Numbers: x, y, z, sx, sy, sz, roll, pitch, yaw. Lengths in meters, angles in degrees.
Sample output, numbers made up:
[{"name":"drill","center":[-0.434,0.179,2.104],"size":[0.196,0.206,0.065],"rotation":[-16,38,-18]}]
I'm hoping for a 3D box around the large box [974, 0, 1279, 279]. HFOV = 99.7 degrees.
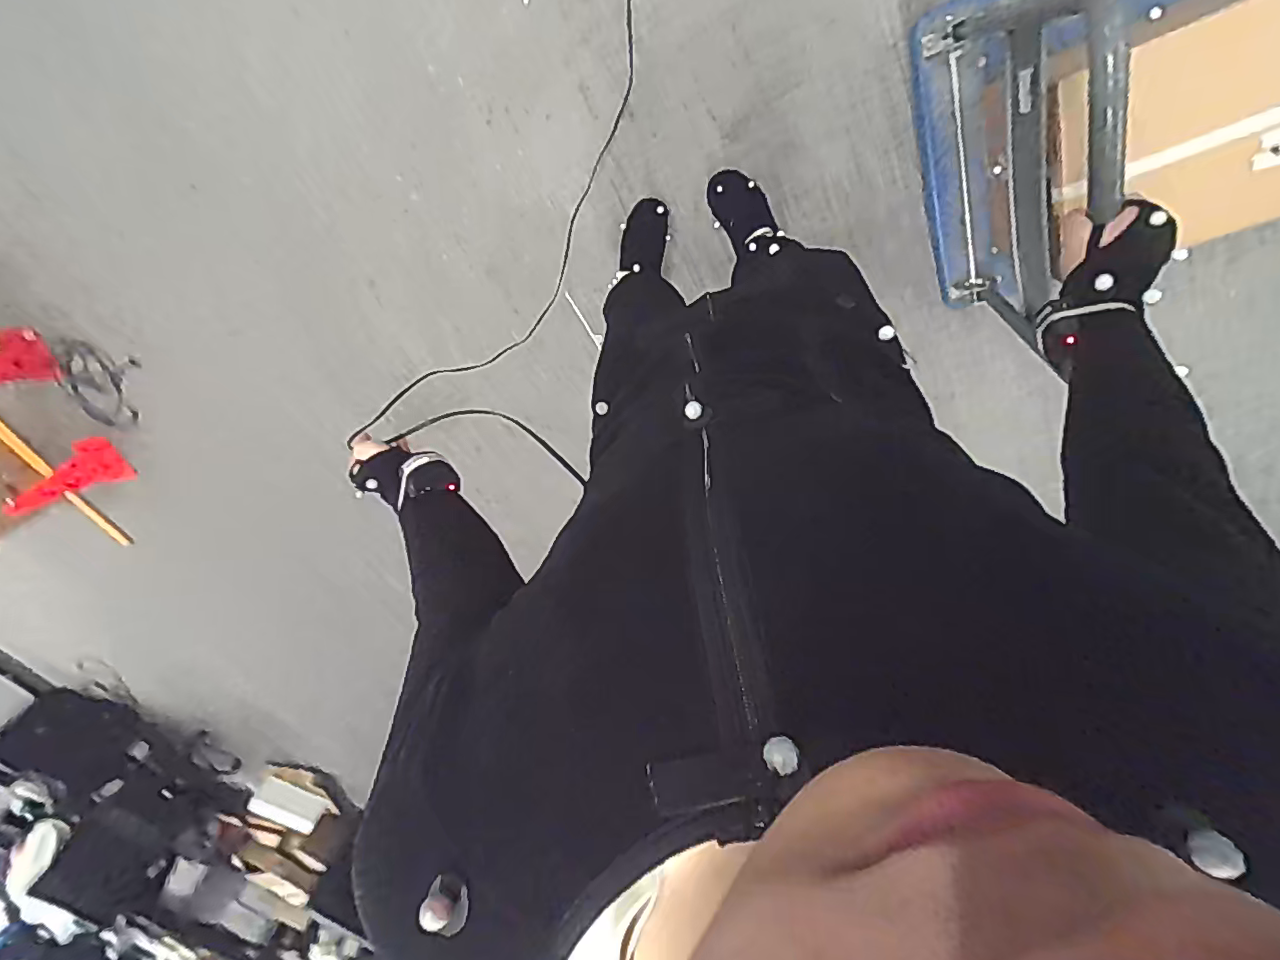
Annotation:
[{"name":"large box","center":[0.855,-0.596,0.914],"size":[0.408,0.320,0.320],"rotation":[-16,120,19]}]
